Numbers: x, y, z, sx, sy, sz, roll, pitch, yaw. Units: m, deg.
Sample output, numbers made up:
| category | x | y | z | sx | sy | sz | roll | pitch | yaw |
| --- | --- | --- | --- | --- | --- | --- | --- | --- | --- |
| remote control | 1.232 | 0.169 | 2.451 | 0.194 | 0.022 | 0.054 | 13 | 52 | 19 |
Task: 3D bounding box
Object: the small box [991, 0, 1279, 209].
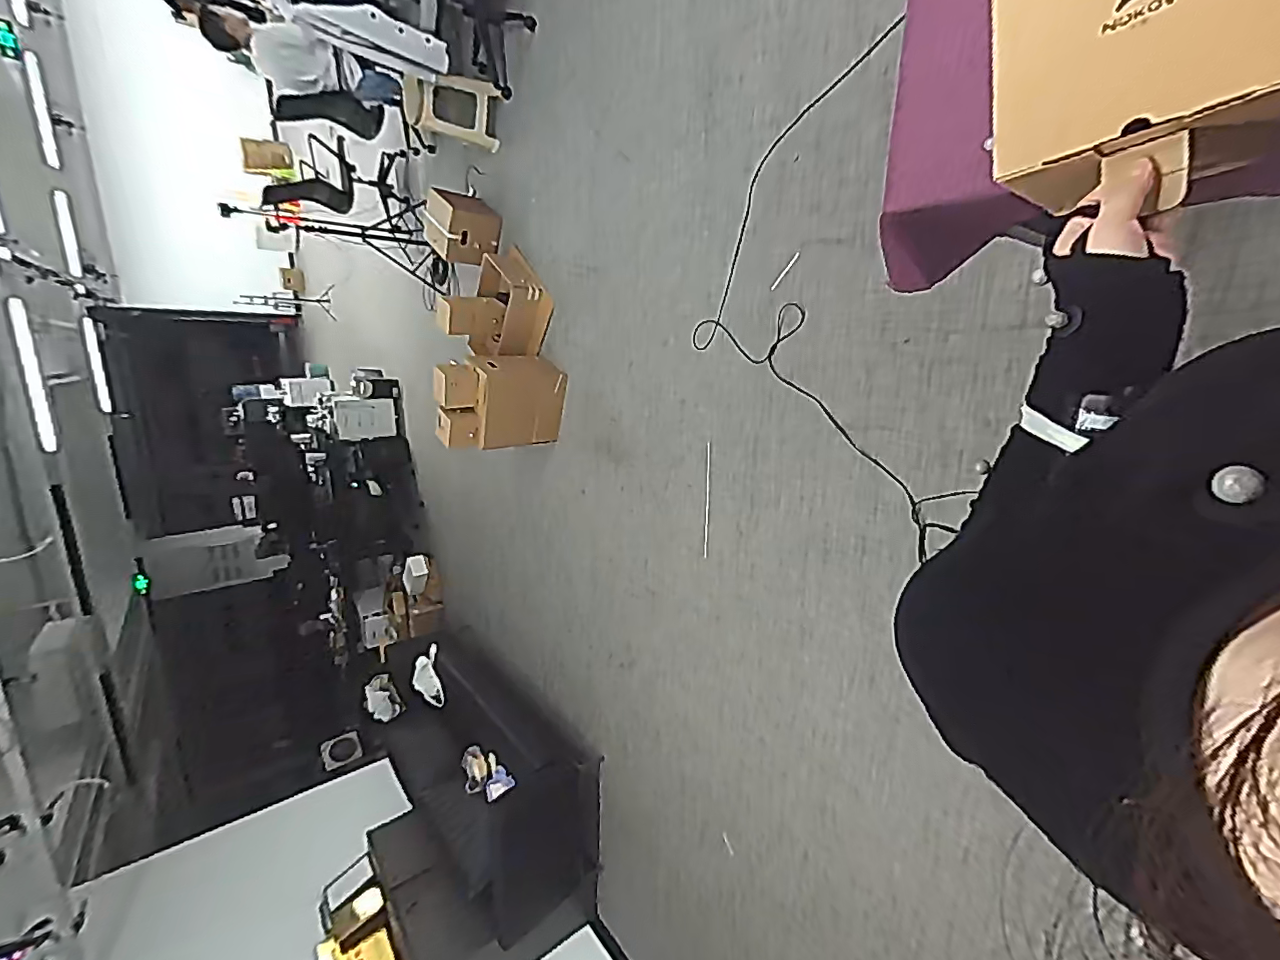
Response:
| category | x | y | z | sx | sy | sz | roll | pitch | yaw |
| --- | --- | --- | --- | --- | --- | --- | --- | --- | --- |
| small box | 0.390 | -0.334 | 0.413 | 0.168 | 0.176 | 0.179 | 4 | 102 | 50 |
